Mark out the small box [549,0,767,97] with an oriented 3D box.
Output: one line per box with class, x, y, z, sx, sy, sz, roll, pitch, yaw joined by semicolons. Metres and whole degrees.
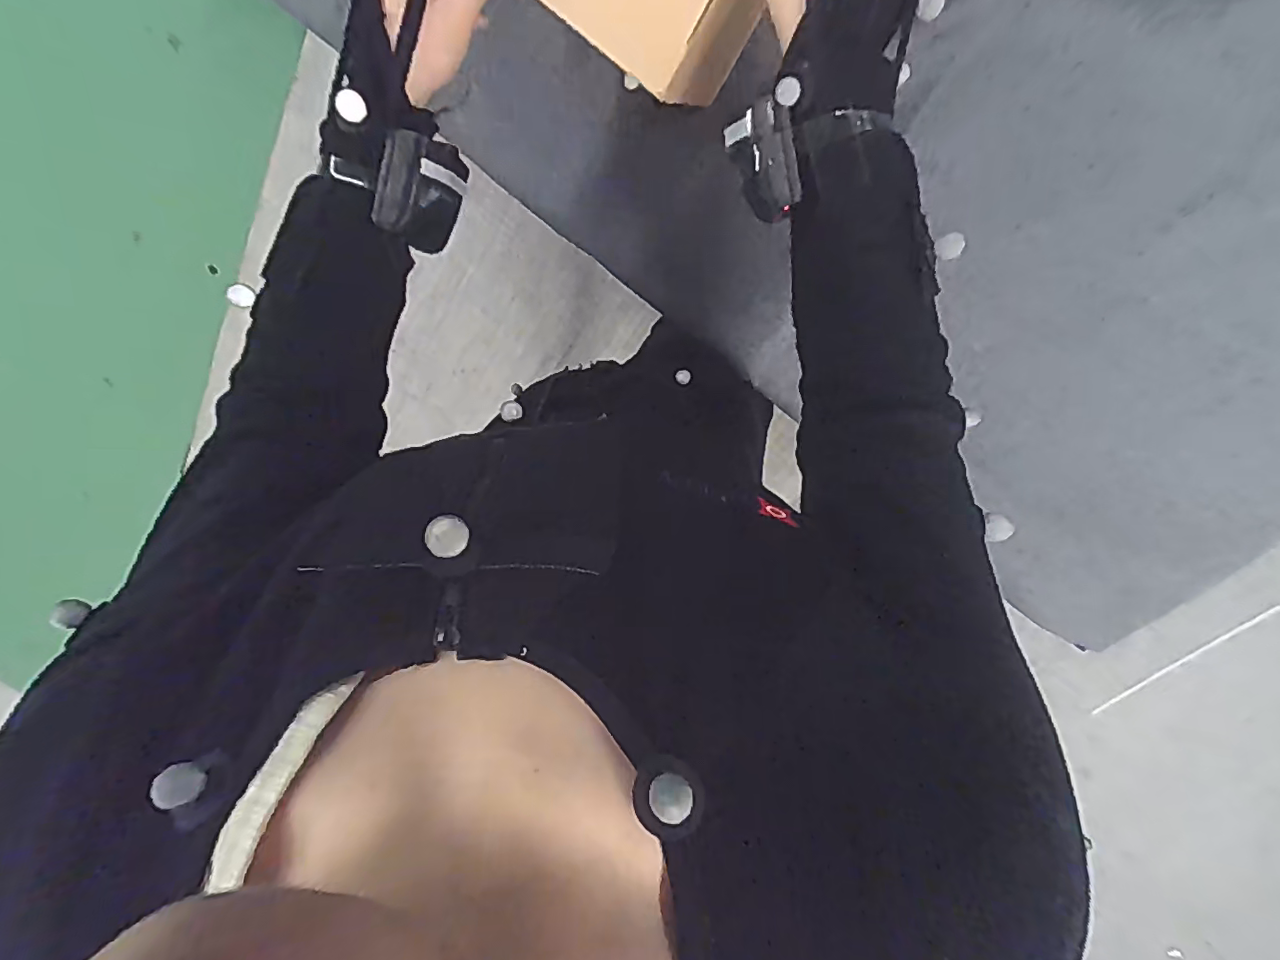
small box;0.012;-0.380;0.345;0.179;0.176;0.168;35;124;-4
